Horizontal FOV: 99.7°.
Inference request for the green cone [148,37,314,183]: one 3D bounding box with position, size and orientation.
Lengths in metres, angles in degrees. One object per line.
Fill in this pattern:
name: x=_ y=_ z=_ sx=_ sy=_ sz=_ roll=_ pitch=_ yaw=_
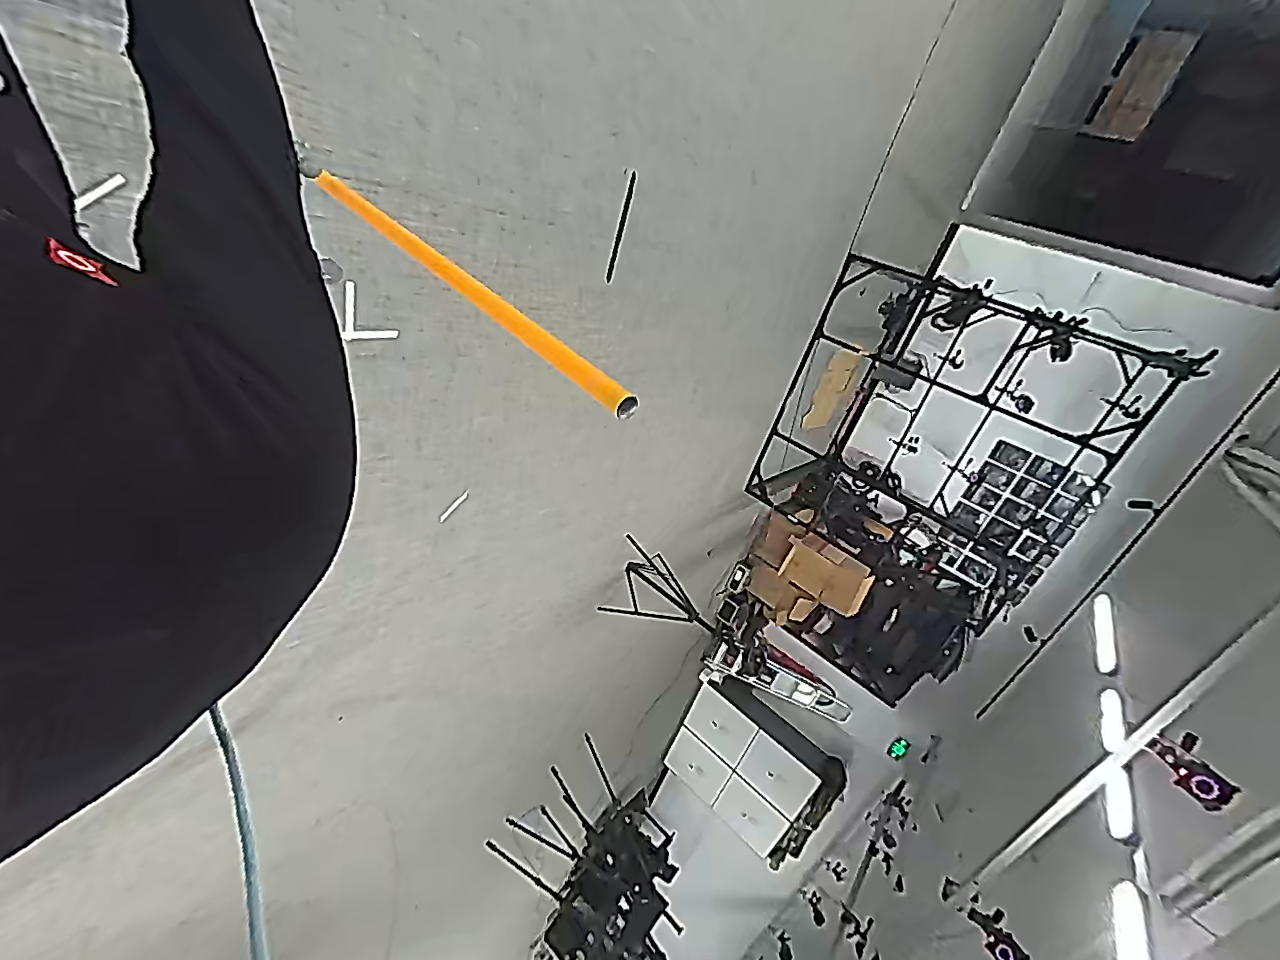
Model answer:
green cone: x=-0.708 y=-0.629 z=0.986 sx=0.202 sy=0.368 sz=0.200 roll=-14 pitch=131 yaw=-54
